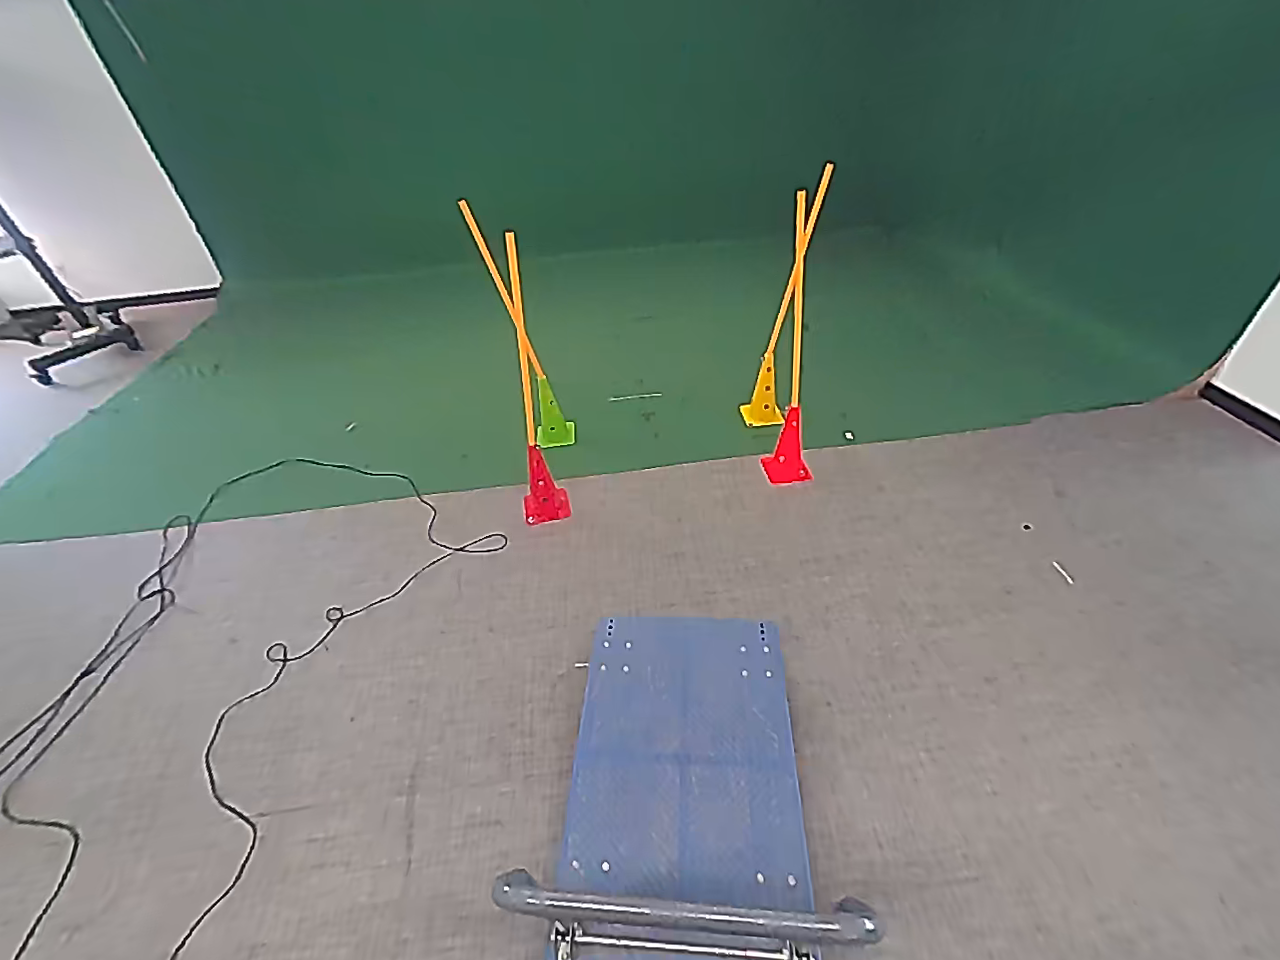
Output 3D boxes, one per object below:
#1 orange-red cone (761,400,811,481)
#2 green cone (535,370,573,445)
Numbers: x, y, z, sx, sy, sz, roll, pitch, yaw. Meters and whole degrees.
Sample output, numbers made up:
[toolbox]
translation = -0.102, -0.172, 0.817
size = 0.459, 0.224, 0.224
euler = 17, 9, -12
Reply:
[orange-red cone]
translation = 0.665, -0.196, 2.403
size = 0.198, 0.360, 0.199
euler = -6, 39, -3
[green cone]
translation = -0.465, -0.383, 2.727
size = 0.200, 0.368, 0.202
euler = -7, 40, -2
